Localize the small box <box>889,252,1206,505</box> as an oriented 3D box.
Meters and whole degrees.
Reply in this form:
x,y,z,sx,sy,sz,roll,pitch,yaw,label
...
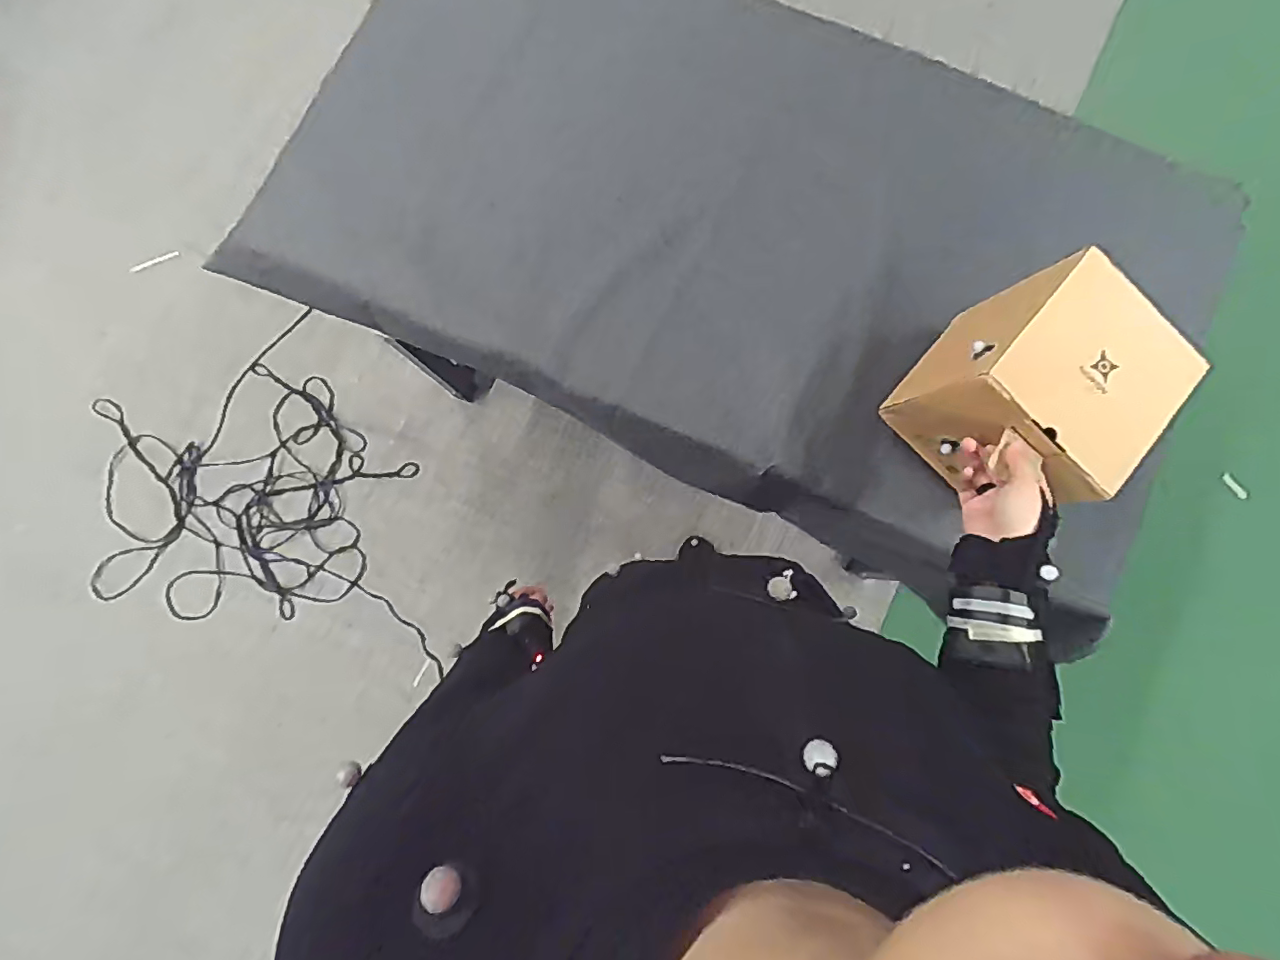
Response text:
x,y,z,sx,sy,sz,roll,pitch,yaw,label
0.407,-0.091,0.569,0.168,0.176,0.179,43,82,-4,small box
